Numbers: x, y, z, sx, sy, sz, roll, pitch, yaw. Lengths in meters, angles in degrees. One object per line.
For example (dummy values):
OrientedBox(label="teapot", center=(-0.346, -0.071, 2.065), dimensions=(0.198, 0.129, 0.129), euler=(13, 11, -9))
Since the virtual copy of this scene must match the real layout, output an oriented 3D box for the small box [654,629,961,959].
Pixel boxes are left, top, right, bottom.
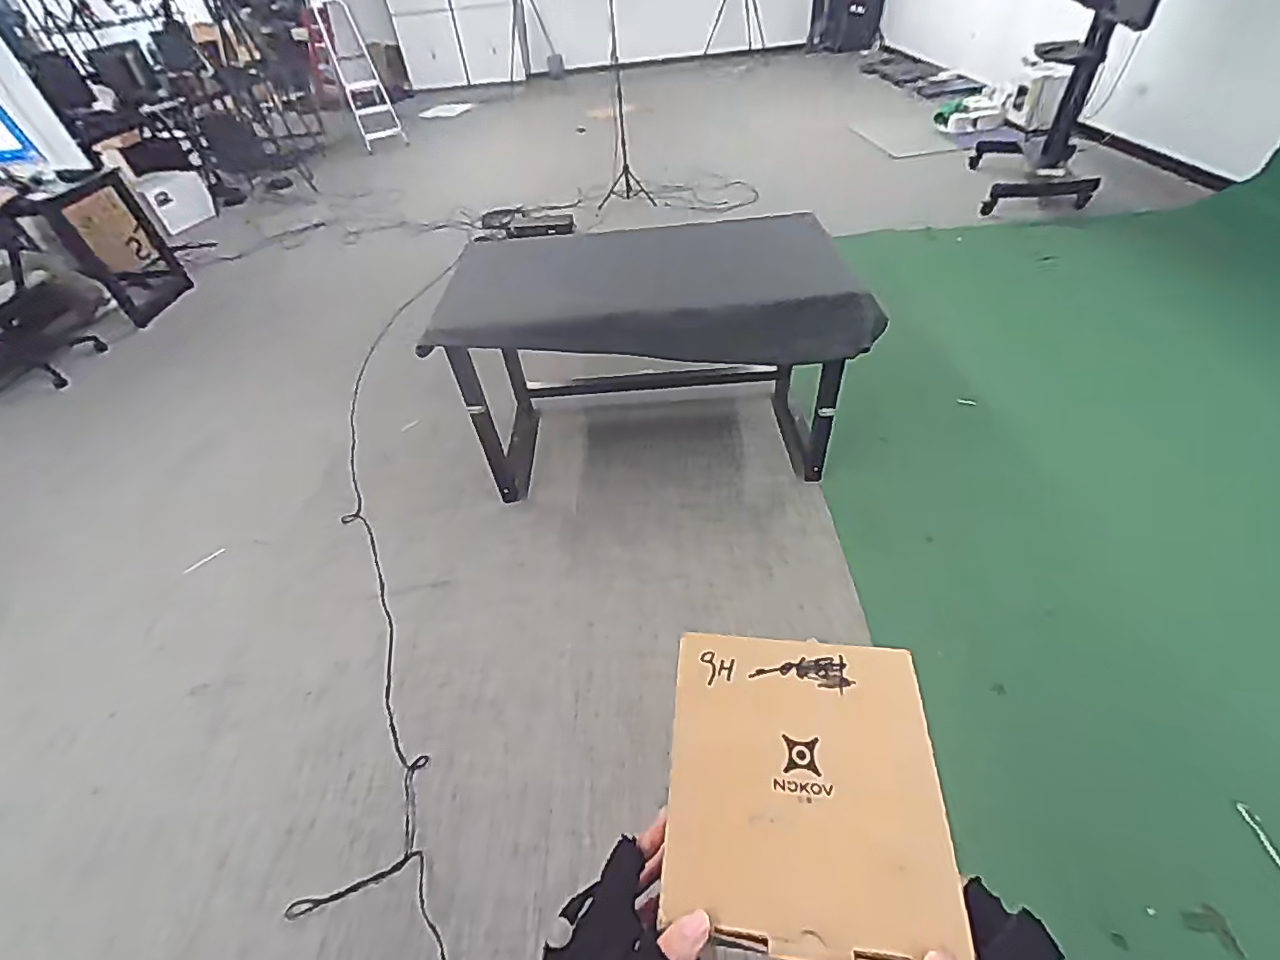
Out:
OrientedBox(label="small box", center=(0.107, 0.232, 0.406), dimensions=(0.168, 0.176, 0.179), euler=(1, 50, 9))
